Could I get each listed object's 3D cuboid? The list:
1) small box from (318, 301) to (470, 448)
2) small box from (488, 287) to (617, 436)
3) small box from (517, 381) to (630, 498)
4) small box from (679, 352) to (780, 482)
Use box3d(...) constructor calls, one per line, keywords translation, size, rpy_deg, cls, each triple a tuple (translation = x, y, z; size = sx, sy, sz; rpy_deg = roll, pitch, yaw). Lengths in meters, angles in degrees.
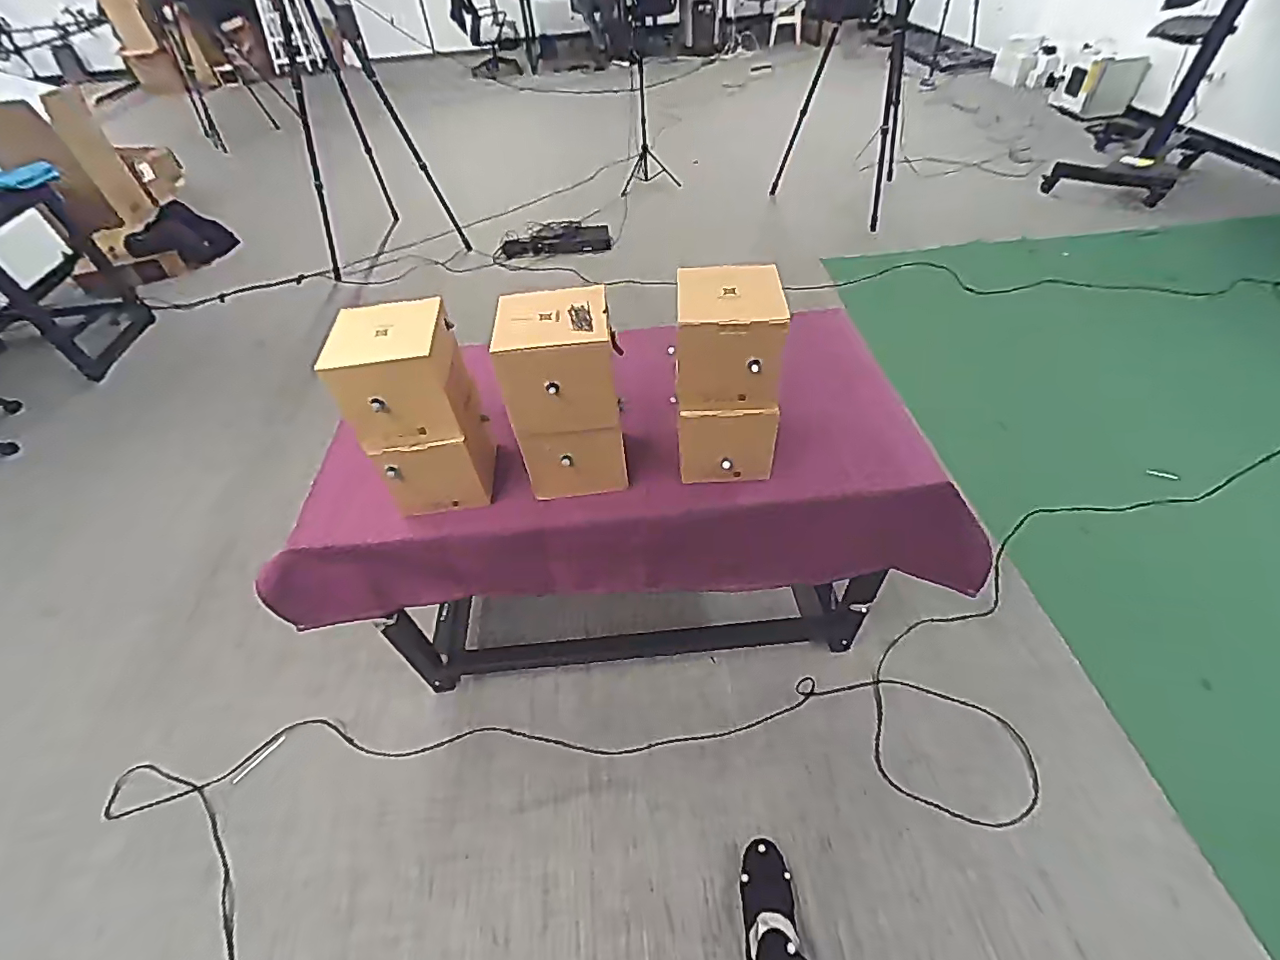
box3d(translation=(-0.389, -0.168, 0.893), size=(0.168, 0.176, 0.179), rpy_deg=(-9, 46, -3), cls="small box")
box3d(translation=(-0.130, -0.190, 0.883), size=(0.179, 0.176, 0.168), rpy_deg=(-6, 47, 1), cls="small box")
box3d(translation=(-0.119, -0.083, 1.008), size=(0.179, 0.176, 0.168), rpy_deg=(-7, 48, 0), cls="small box")
box3d(translation=(0.157, -0.116, 1.008), size=(0.168, 0.176, 0.179), rpy_deg=(-3, 47, 4), cls="small box")
